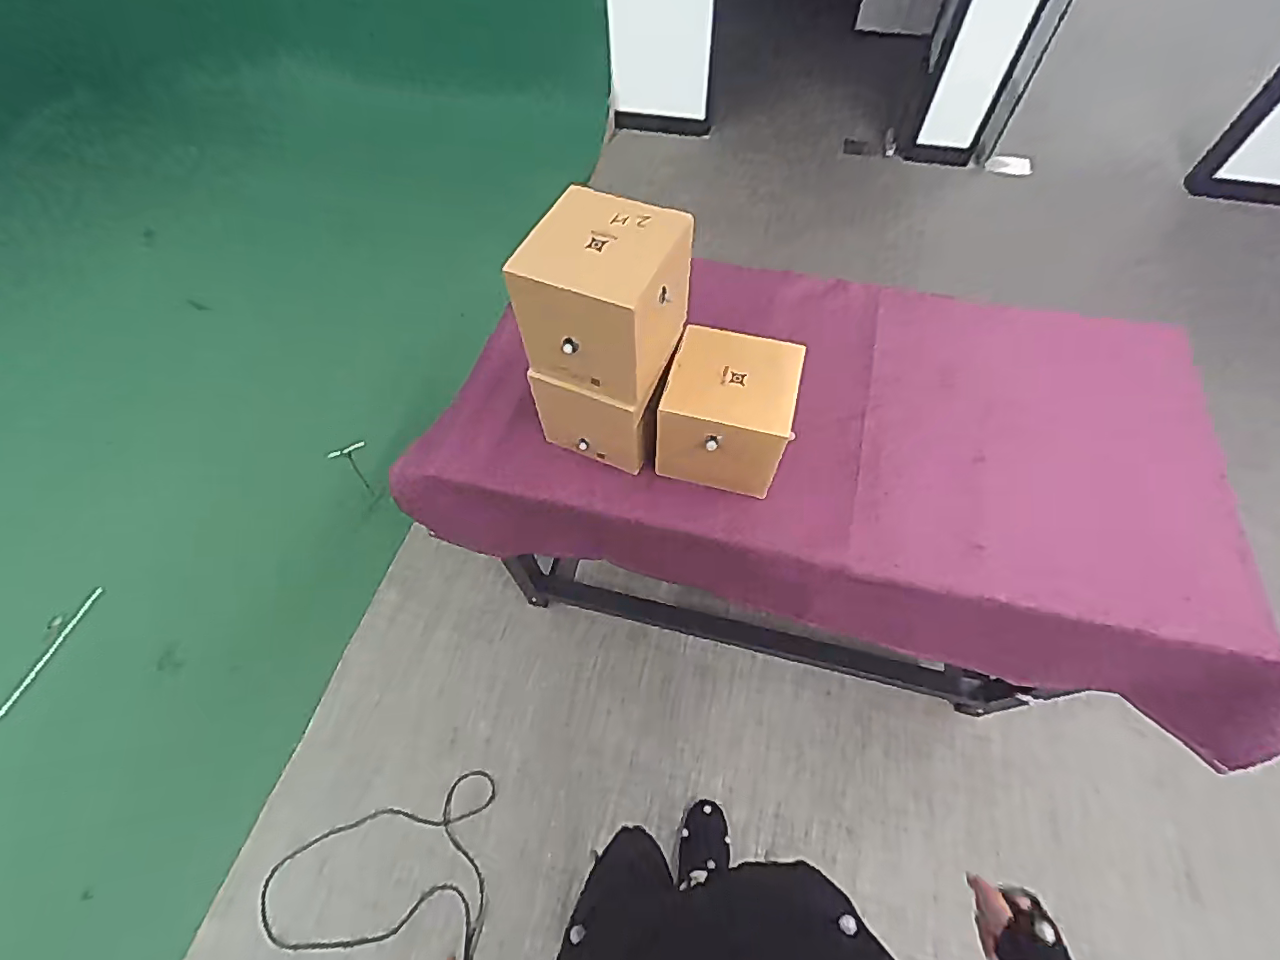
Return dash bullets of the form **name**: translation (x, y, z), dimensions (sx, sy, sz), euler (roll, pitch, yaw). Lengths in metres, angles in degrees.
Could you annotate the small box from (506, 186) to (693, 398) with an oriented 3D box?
- **small box**: translation (-0.042, -0.235, 0.694), dimensions (0.168, 0.176, 0.179), euler (21, 62, 13)
